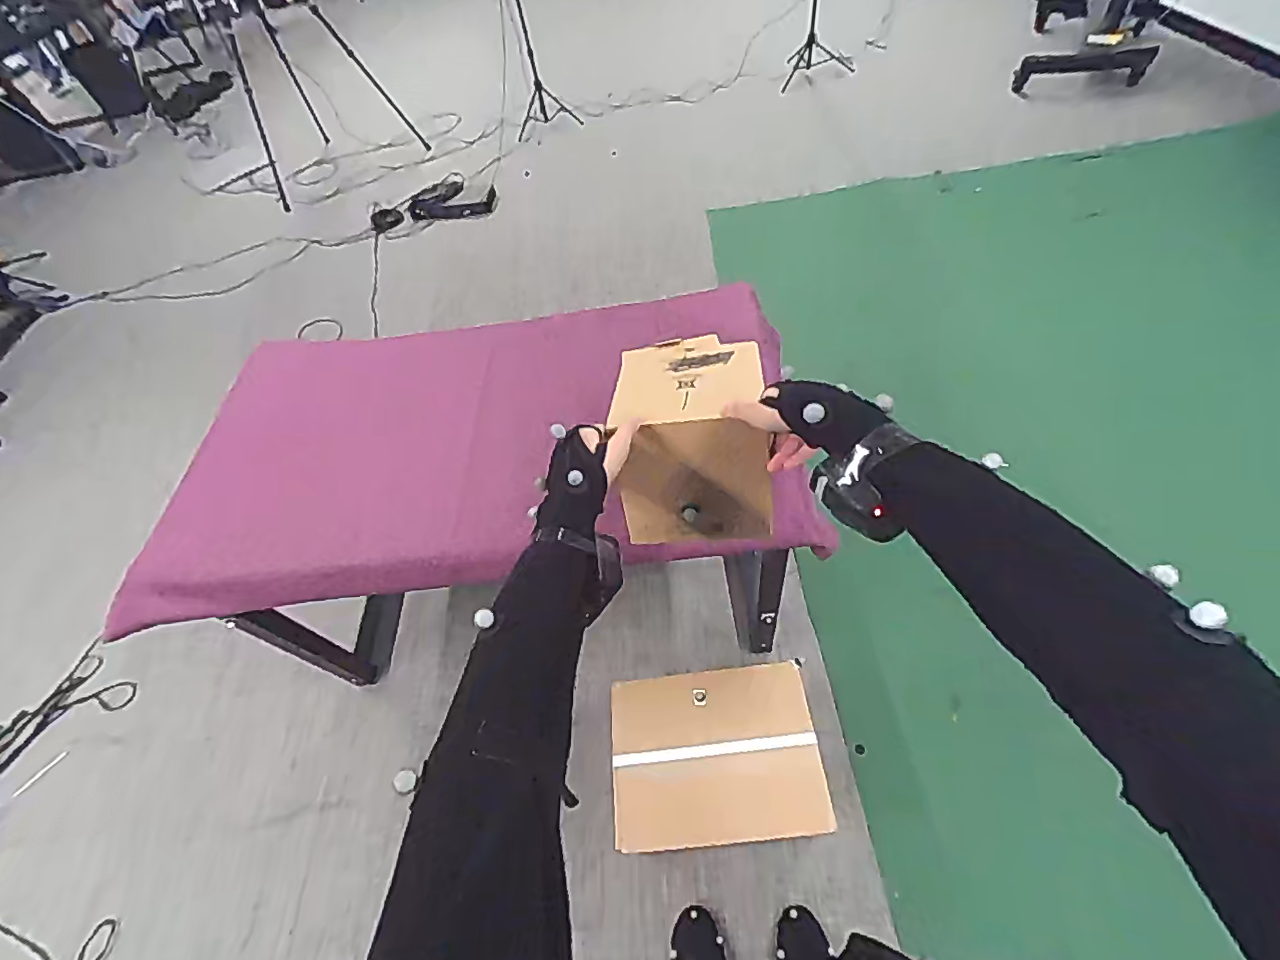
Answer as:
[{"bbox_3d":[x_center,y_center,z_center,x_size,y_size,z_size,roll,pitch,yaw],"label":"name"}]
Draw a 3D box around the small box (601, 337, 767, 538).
[{"bbox_3d":[0.062,-0.050,0.644,0.168,0.176,0.179,-4,38,11],"label":"small box"}]
